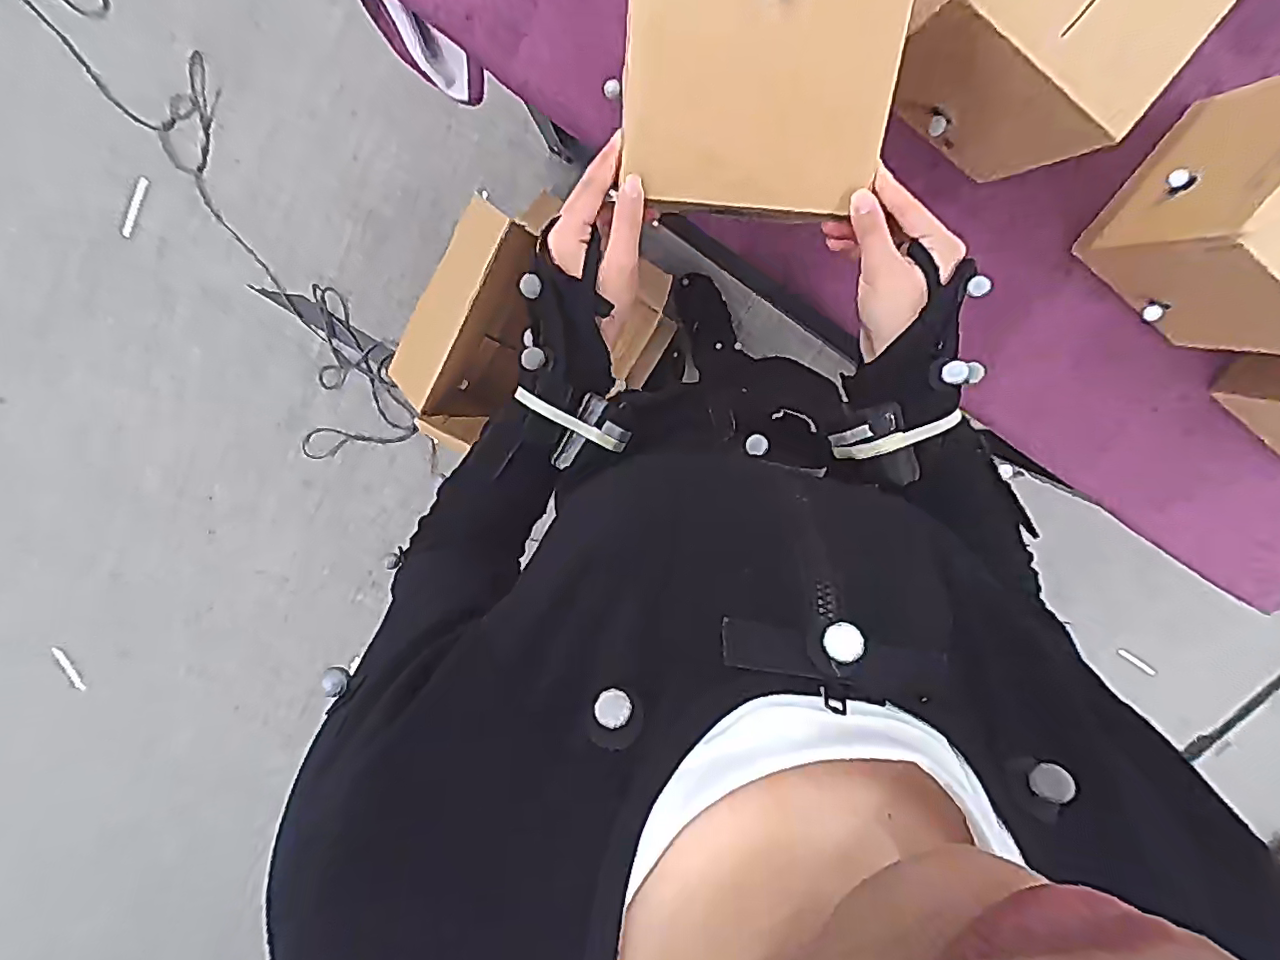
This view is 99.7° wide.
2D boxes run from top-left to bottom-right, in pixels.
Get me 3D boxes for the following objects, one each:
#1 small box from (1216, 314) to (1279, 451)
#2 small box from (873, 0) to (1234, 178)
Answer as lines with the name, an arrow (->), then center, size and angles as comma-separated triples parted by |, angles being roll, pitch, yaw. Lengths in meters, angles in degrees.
small box -> 0.769, -0.100, 0.540 | 0.179, 0.176, 0.168 | 32, 103, -11
small box -> 0.329, -0.385, 0.437 | 0.168, 0.176, 0.179 | 31, 106, -11
